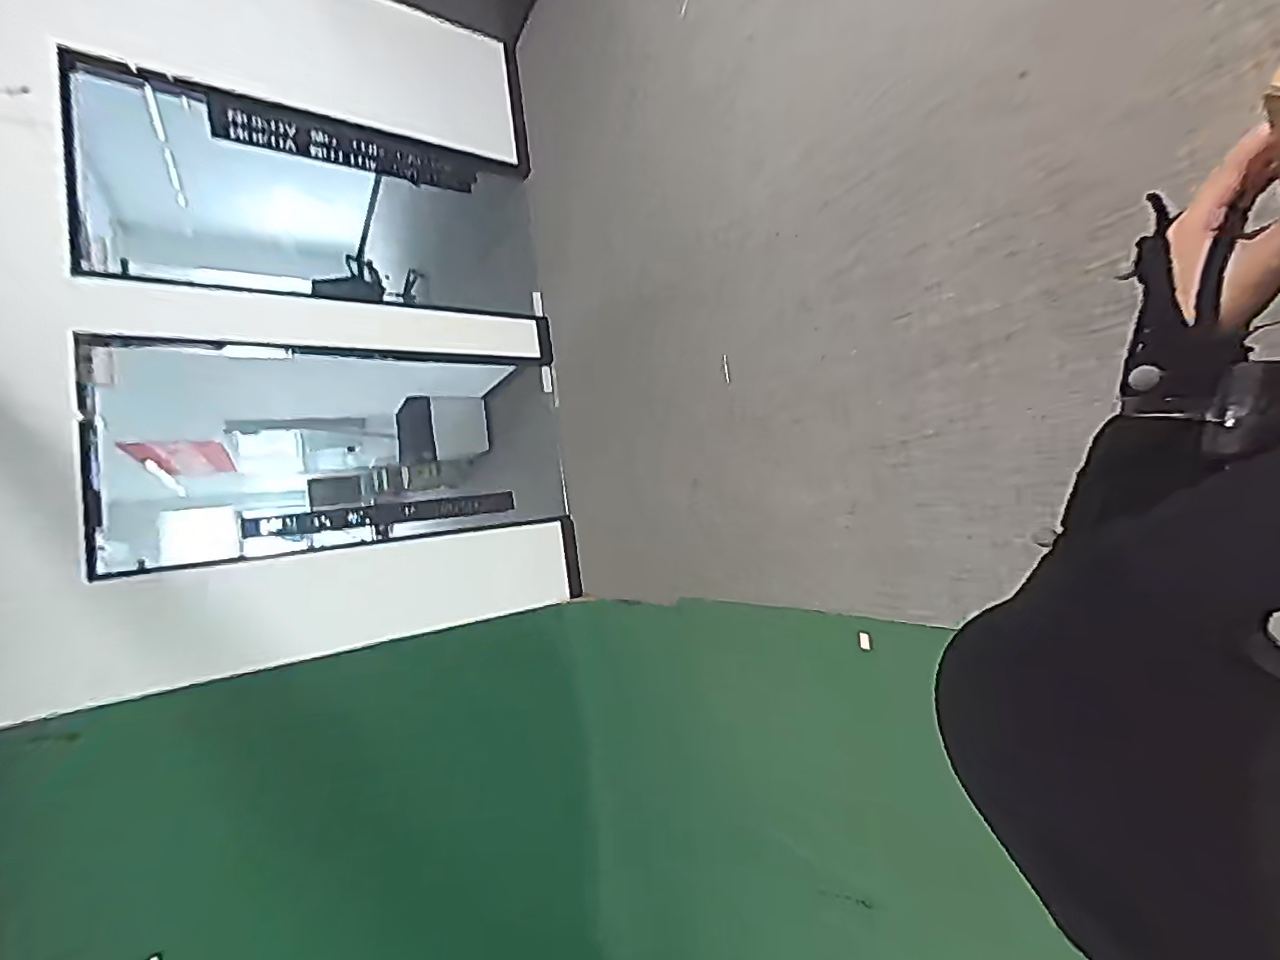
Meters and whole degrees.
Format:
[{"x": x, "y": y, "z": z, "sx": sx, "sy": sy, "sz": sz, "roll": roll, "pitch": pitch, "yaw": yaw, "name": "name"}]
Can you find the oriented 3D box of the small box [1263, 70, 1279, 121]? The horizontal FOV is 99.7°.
[{"x": 0.436, "y": -0.202, "z": 0.215, "sx": 0.168, "sy": 0.176, "sz": 0.179, "roll": 55, "pitch": 132, "yaw": 37, "name": "small box"}]
